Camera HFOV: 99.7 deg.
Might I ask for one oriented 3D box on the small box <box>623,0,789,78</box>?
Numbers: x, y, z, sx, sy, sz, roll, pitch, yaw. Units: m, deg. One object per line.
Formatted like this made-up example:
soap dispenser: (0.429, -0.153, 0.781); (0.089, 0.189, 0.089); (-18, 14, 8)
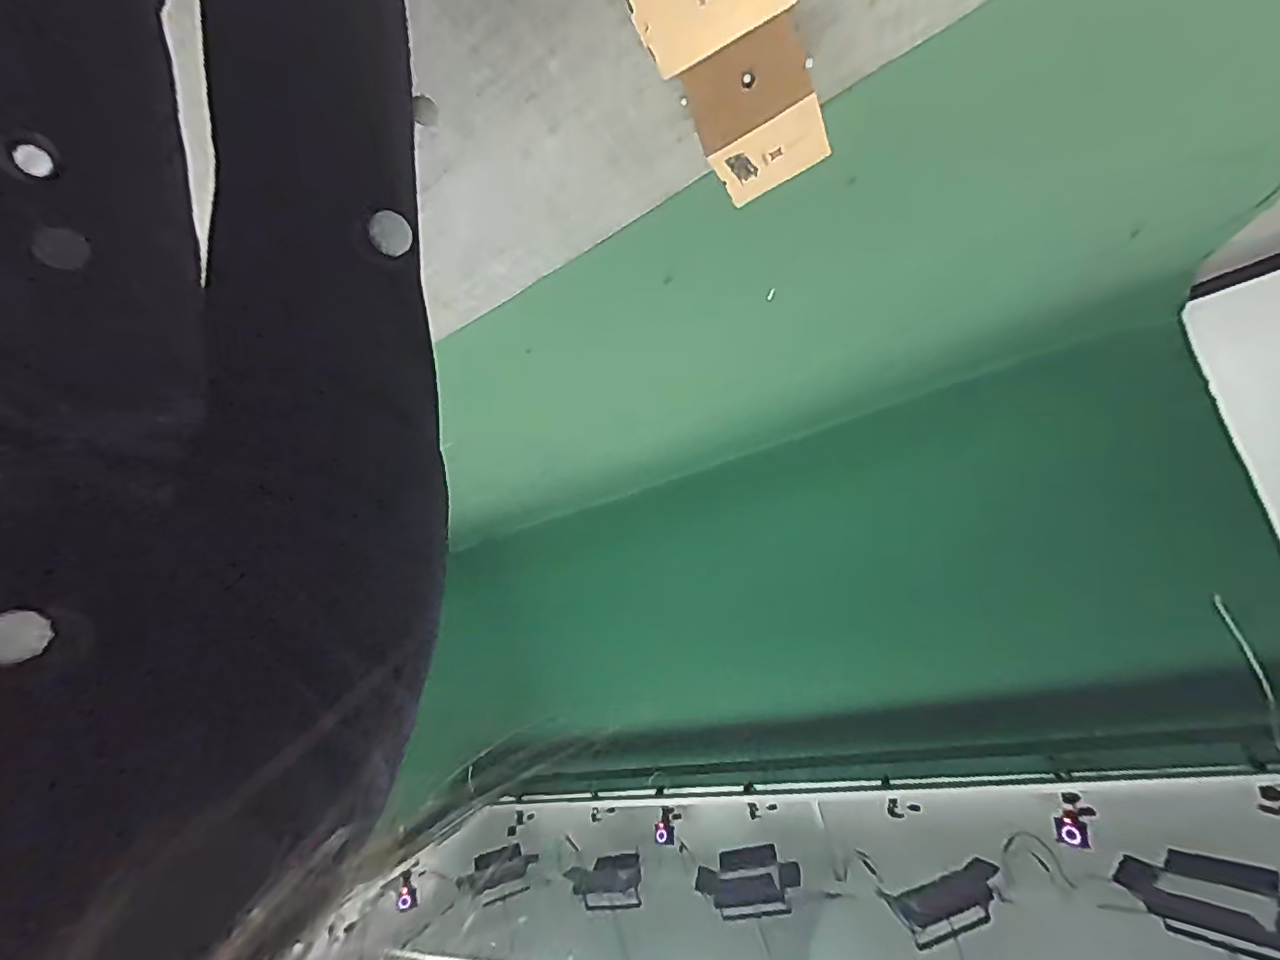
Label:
small box: (0.051, -0.617, 0.597); (0.179, 0.176, 0.168); (-18, 171, 20)

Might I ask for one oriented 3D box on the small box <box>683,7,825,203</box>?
small box: (0.183, -0.608, 0.888); (0.179, 0.176, 0.168); (-20, 170, 25)
